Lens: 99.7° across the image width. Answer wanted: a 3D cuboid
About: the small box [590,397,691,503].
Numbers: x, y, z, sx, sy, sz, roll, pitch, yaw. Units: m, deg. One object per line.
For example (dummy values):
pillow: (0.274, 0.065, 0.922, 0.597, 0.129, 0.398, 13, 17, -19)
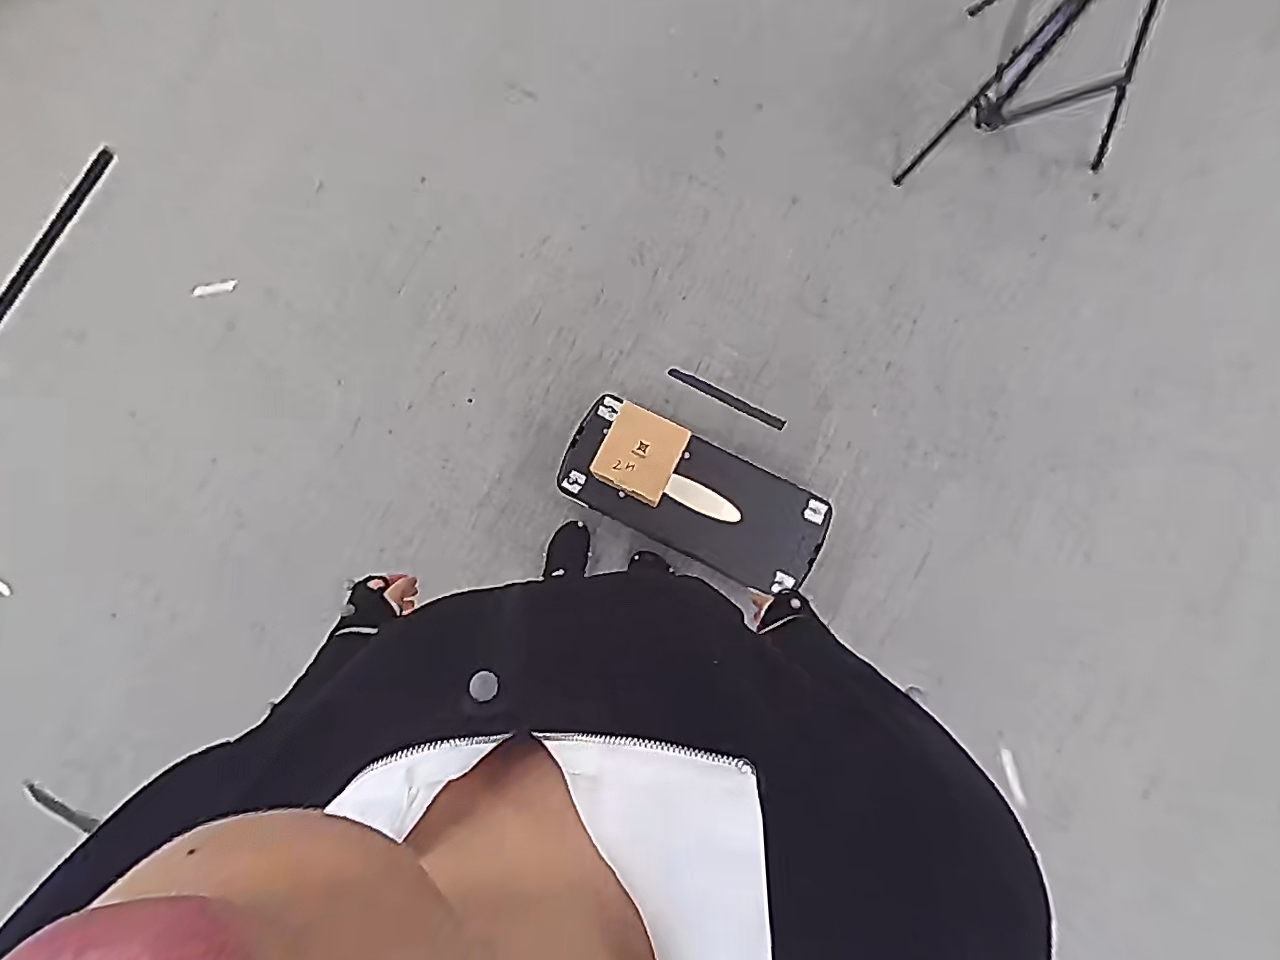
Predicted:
small box: (-0.001, -0.061, 1.242, 0.168, 0.176, 0.179, 27, 85, 3)
